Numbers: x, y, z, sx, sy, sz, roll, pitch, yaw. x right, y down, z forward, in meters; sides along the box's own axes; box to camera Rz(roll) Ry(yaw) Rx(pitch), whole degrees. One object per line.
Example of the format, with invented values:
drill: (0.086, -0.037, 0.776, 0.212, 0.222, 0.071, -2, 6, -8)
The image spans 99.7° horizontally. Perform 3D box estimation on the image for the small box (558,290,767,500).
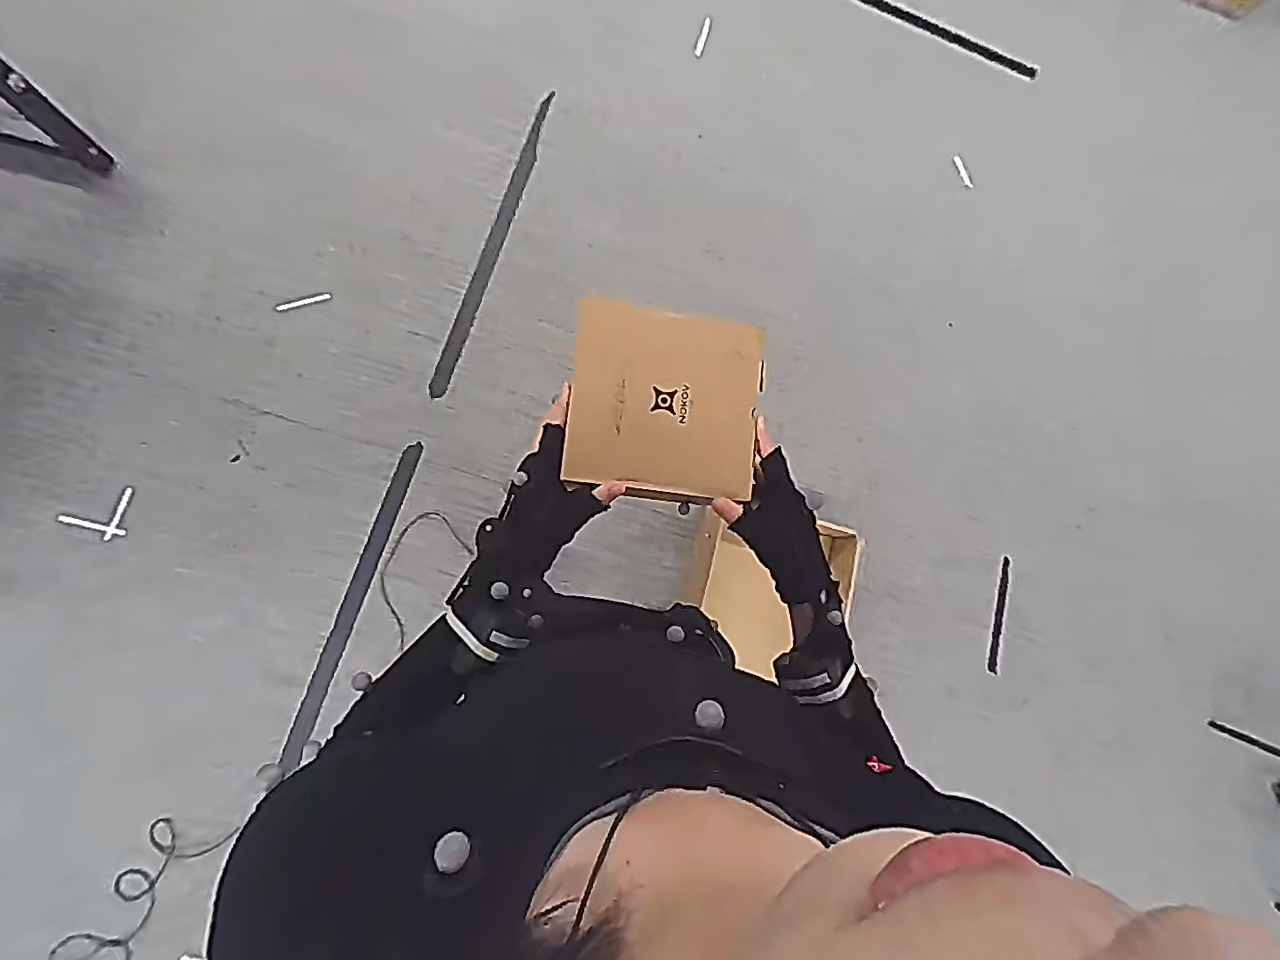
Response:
small box: (0.012, -0.071, 0.556, 0.179, 0.176, 0.168, 6, 84, -7)
